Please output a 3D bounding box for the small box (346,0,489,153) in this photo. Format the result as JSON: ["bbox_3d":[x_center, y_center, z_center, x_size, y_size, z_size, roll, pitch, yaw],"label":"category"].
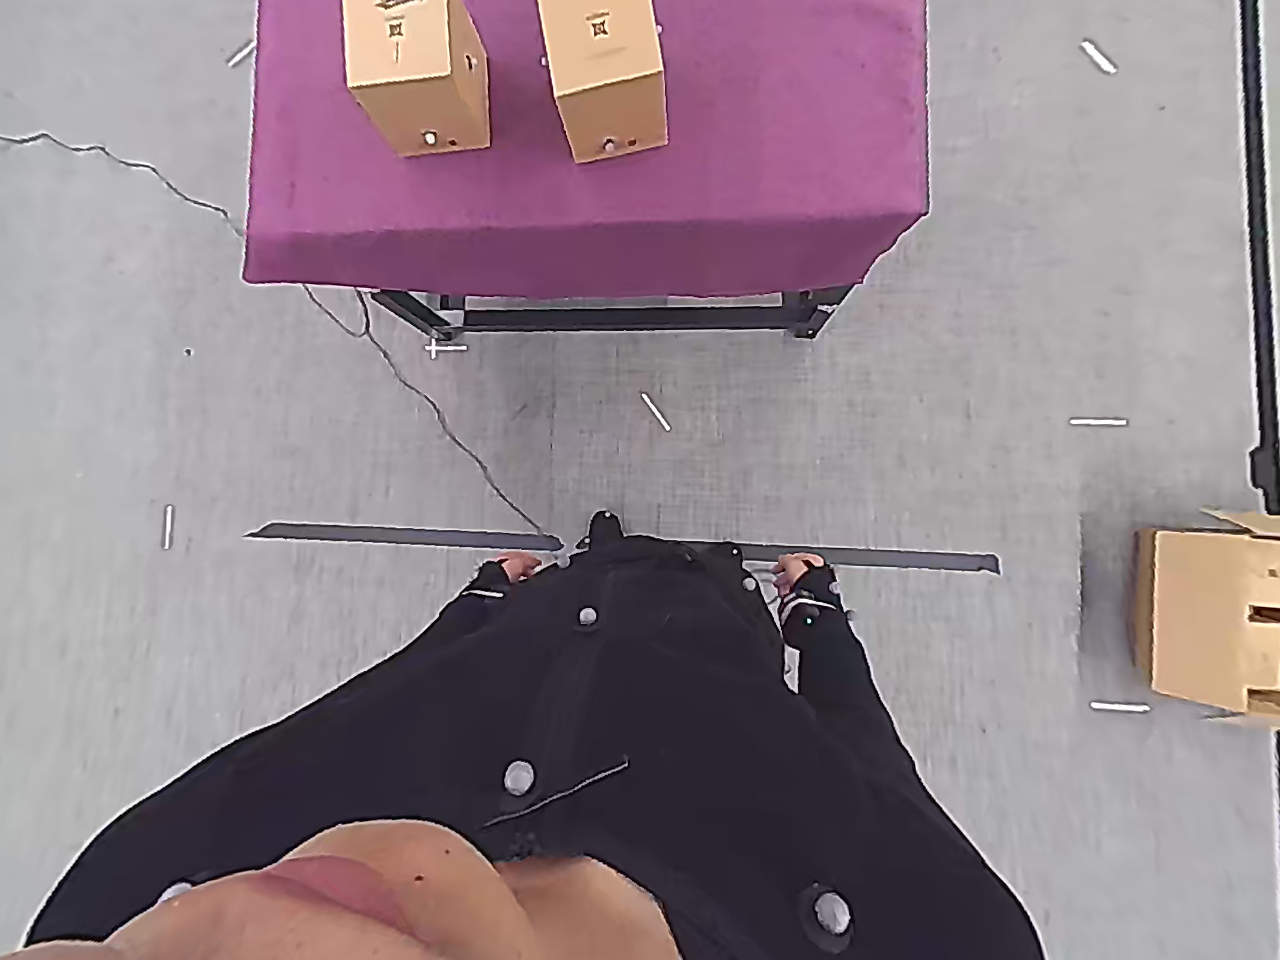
[{"bbox_3d":[-0.358,-0.681,0.893,0.168,0.176,0.179,-3,88,5],"label":"small box"}]

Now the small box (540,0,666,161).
[{"bbox_3d":[-0.053,-0.659,0.869,0.168,0.176,0.179,-10,86,5],"label":"small box"}]
